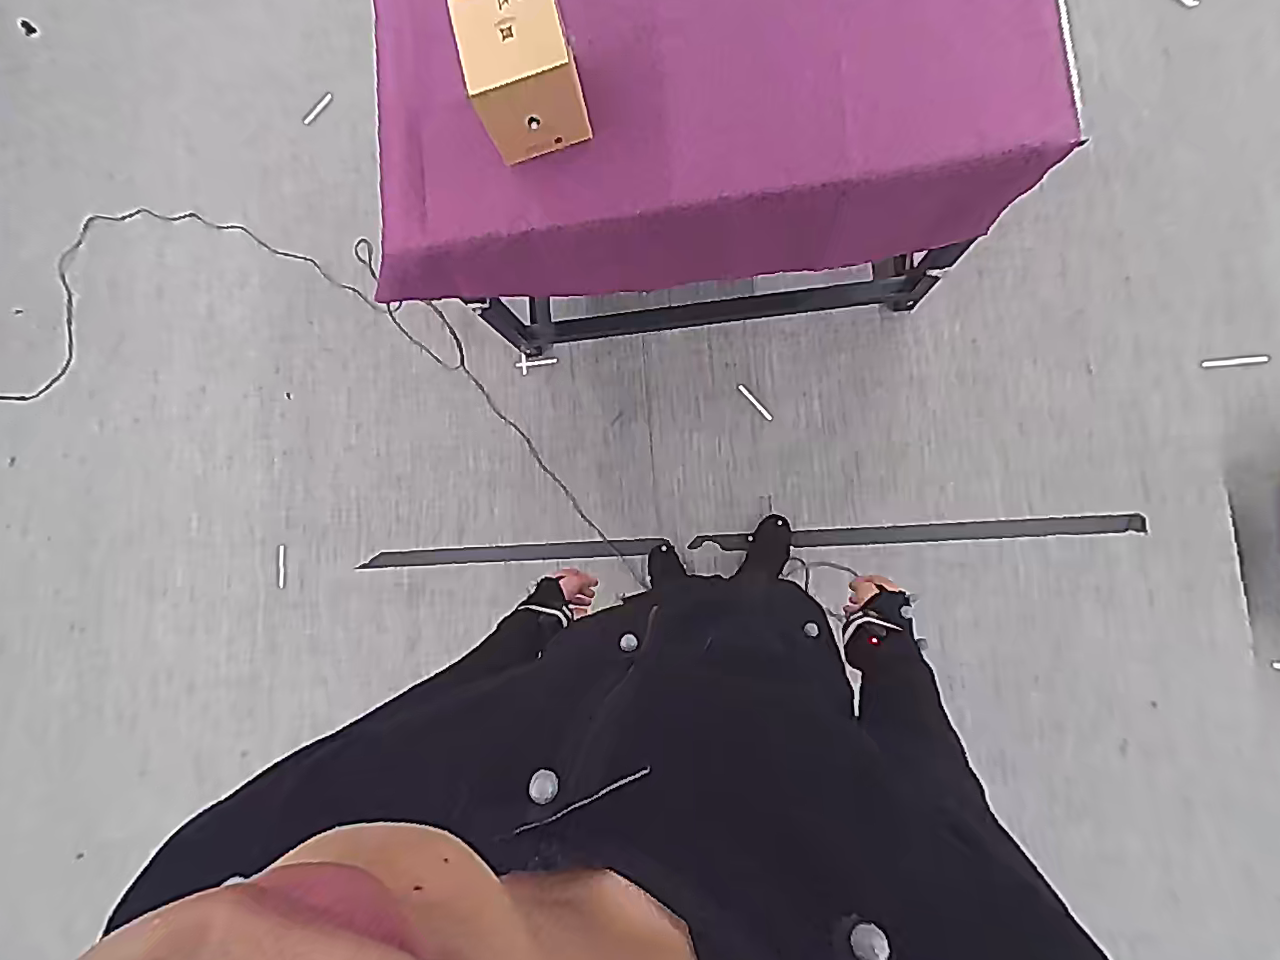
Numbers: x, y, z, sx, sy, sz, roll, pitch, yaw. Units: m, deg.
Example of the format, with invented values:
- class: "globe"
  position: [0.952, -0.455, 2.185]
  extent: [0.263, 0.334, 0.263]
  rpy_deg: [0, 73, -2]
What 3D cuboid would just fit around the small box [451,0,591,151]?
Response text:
- class: "small box"
  position: [-0.191, -0.691, 0.908]
  extent: [0.168, 0.176, 0.179]
  rpy_deg: [-13, 84, 6]
